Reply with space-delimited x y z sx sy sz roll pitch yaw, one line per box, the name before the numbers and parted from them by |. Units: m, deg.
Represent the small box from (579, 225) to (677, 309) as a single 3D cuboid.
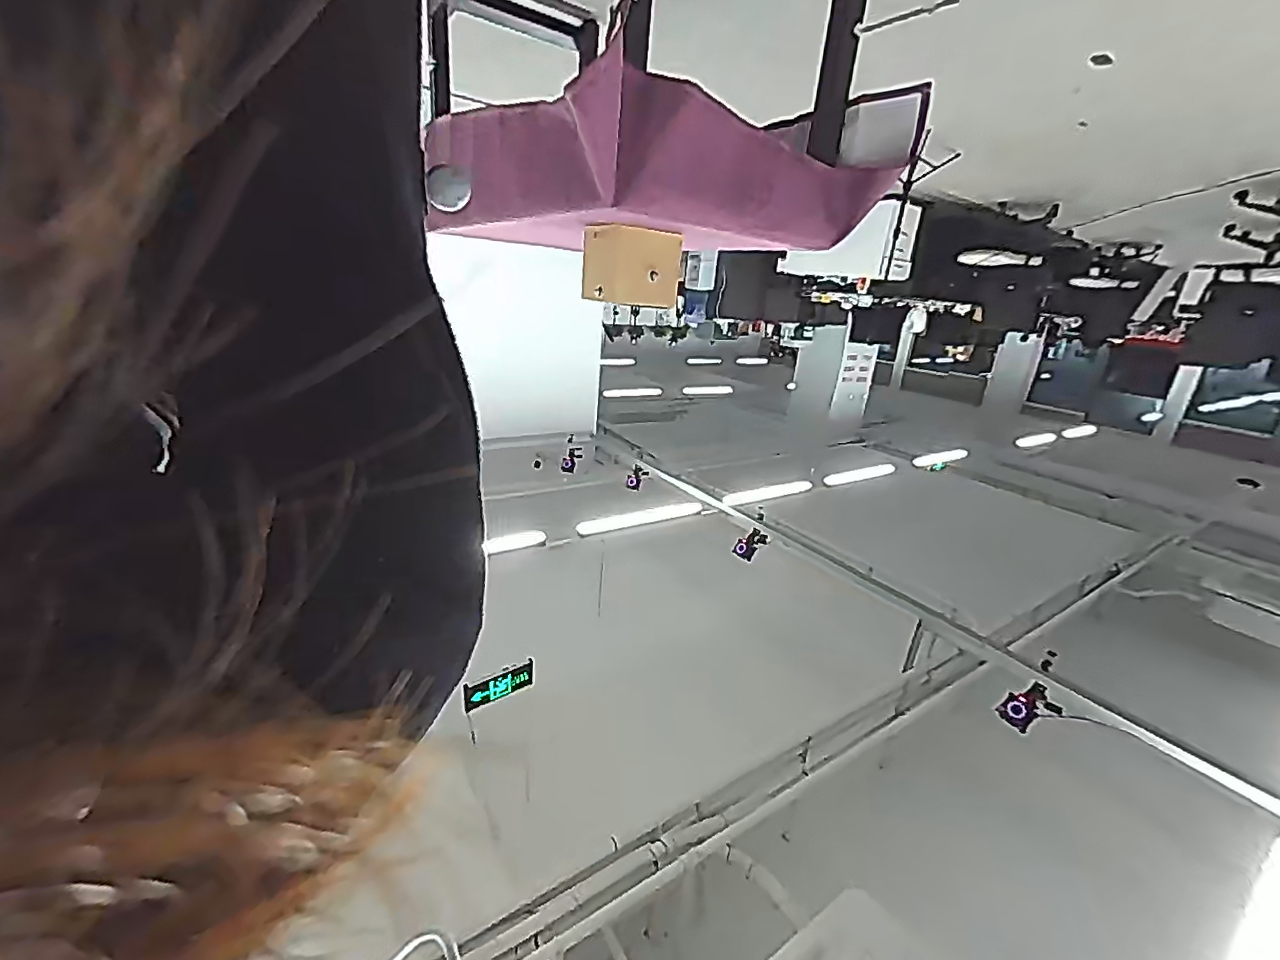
small box | -0.028 -0.505 1.284 0.179 0.176 0.168 -8 -157 -32
